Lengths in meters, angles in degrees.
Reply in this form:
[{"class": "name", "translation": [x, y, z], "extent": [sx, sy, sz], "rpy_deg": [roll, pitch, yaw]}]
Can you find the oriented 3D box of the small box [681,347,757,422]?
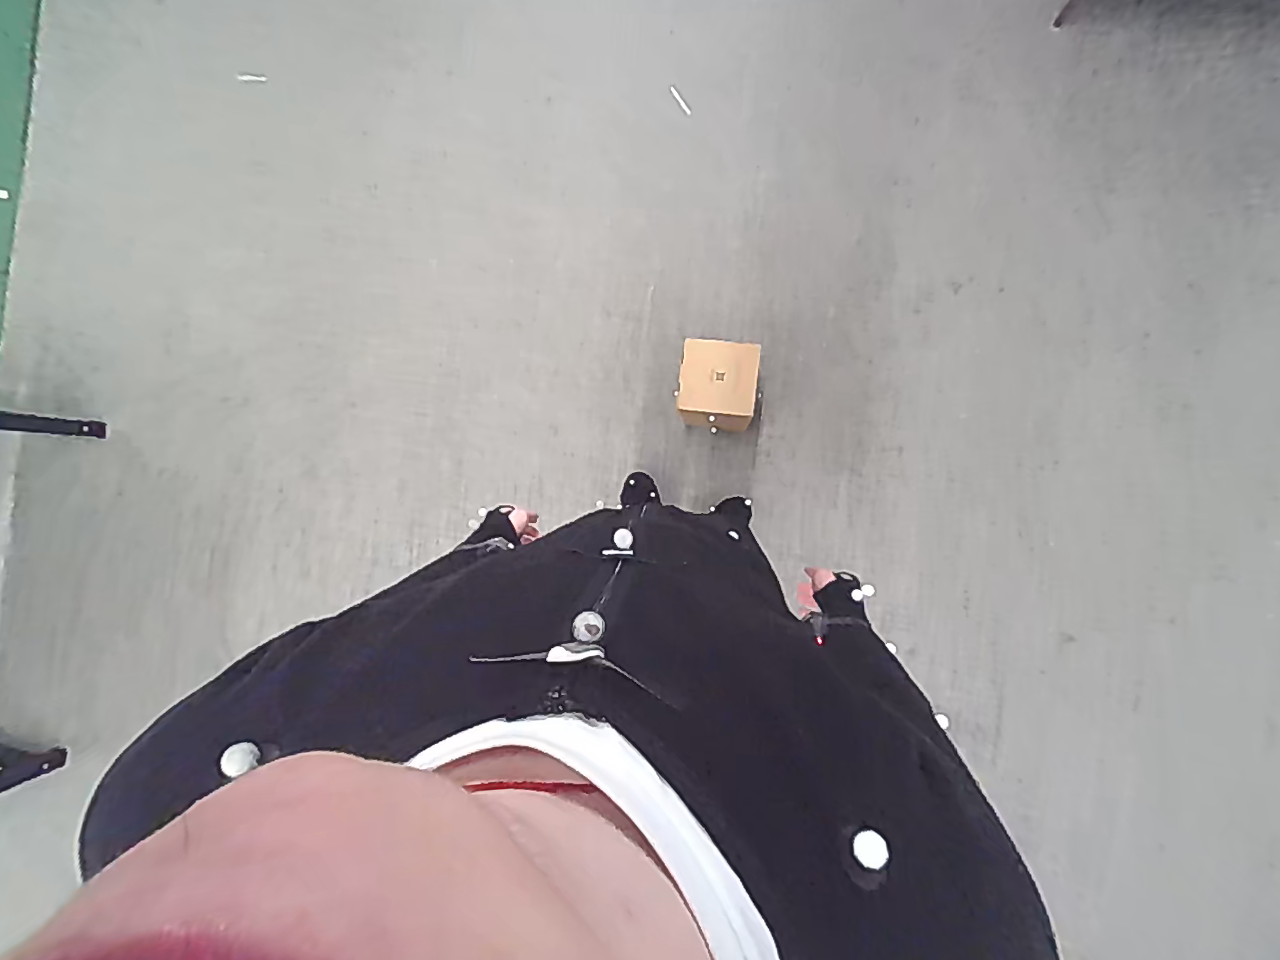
[{"class": "small box", "translation": [0.212, -0.253, 1.466], "extent": [0.179, 0.176, 0.168], "rpy_deg": [8, 91, 7]}]
